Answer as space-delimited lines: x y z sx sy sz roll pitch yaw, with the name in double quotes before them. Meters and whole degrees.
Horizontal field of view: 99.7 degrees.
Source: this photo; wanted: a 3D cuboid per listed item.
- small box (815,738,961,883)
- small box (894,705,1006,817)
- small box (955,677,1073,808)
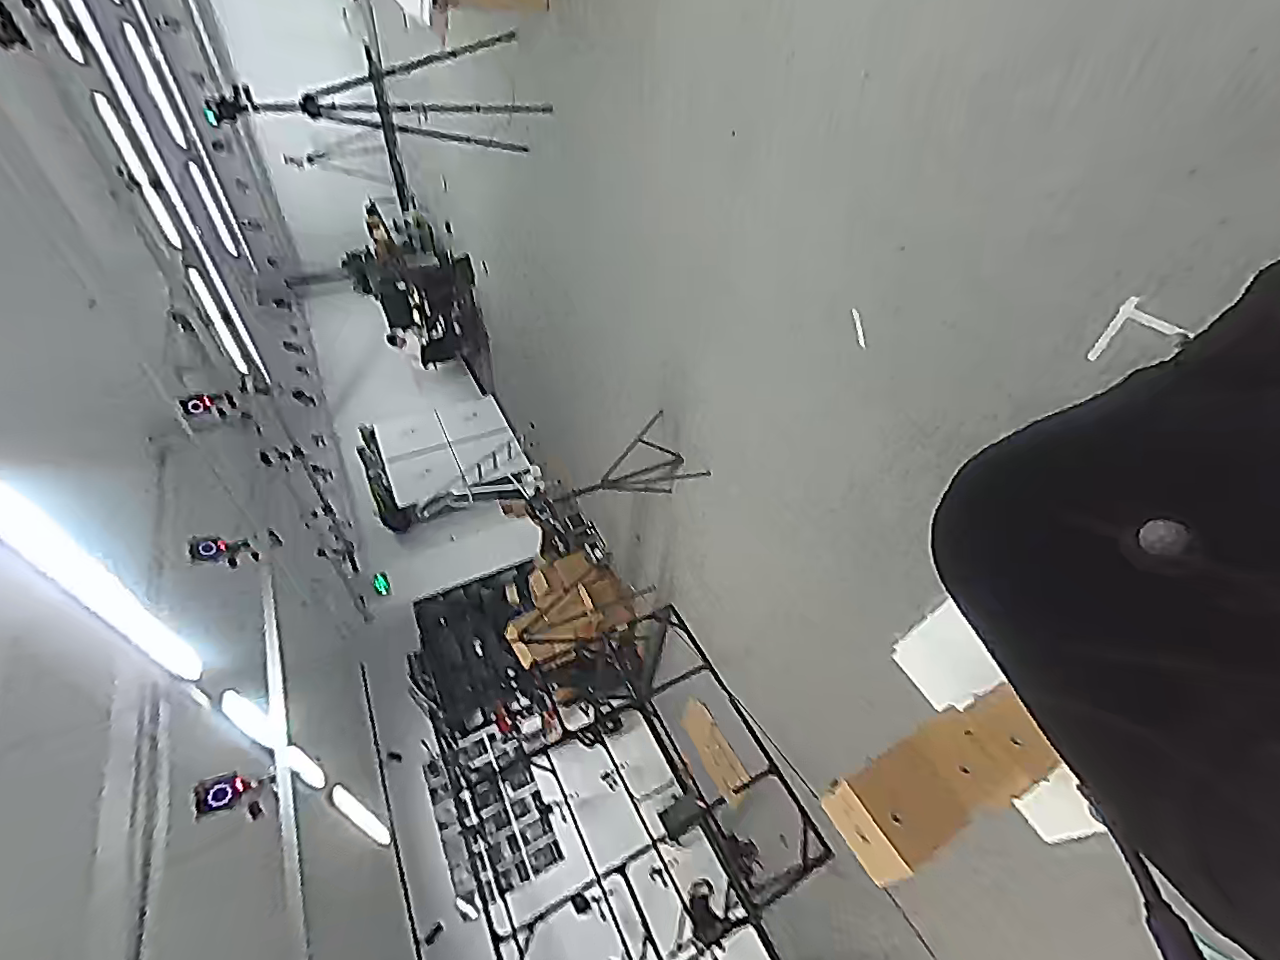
"small box" 0.495 0.660 1.088 0.179 0.176 0.168 54 152 36
"small box" 0.638 0.618 1.161 0.168 0.176 0.179 53 152 38
"small box" 0.793 0.575 1.196 0.179 0.176 0.168 53 151 39
